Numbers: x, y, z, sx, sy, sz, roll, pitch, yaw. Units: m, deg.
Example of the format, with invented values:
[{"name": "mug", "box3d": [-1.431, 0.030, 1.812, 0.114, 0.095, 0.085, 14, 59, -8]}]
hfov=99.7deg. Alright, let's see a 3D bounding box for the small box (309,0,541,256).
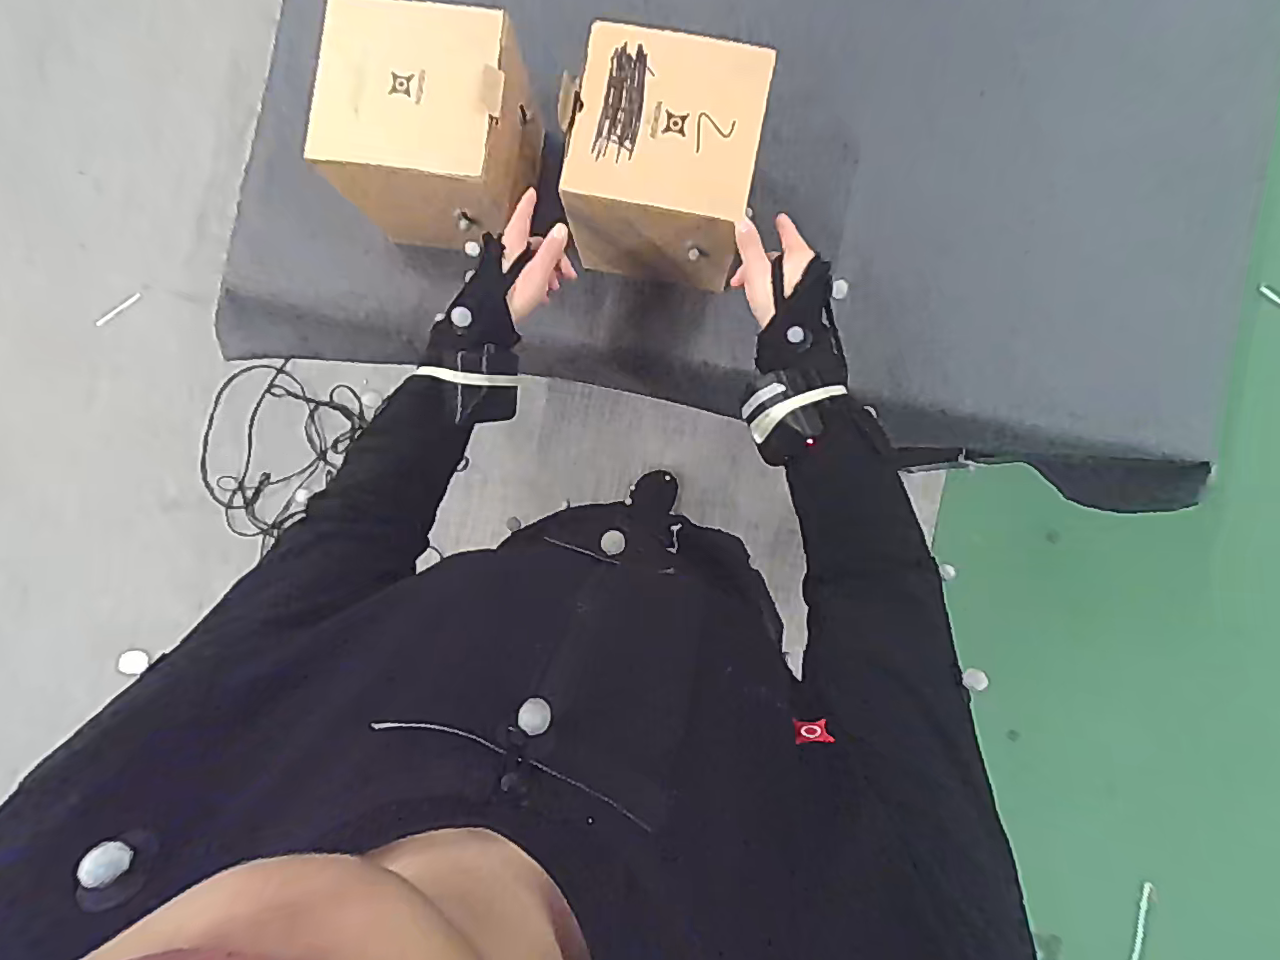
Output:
[{"name": "small box", "box3d": [-0.214, -0.363, 0.587, 0.179, 0.176, 0.168, 6, 87, 3]}]
